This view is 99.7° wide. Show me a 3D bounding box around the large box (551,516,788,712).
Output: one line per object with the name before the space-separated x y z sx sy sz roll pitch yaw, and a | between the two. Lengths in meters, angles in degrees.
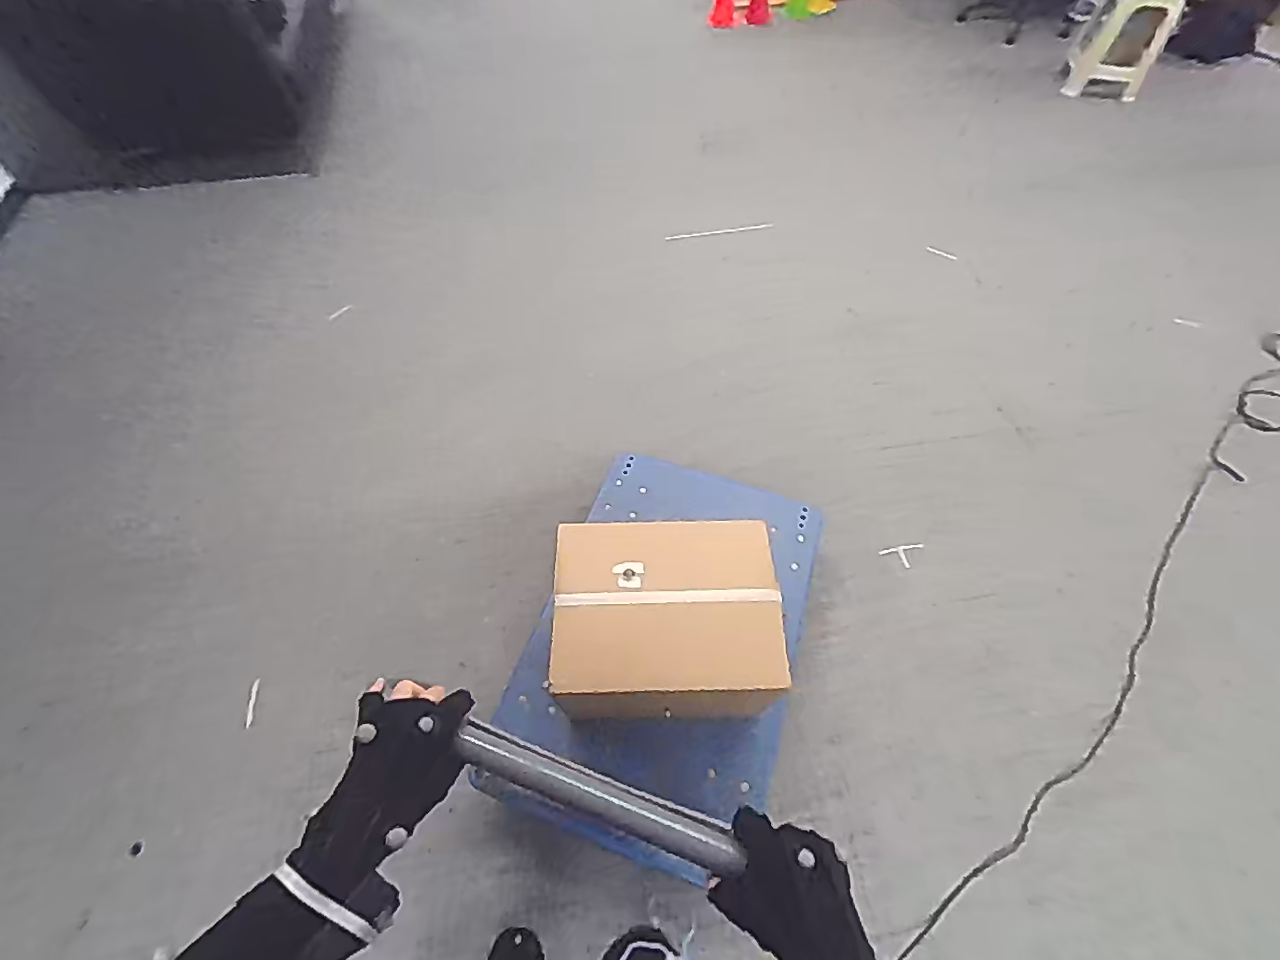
large box | 0.049 0.285 1.103 0.408 0.320 0.320 -2 58 0
